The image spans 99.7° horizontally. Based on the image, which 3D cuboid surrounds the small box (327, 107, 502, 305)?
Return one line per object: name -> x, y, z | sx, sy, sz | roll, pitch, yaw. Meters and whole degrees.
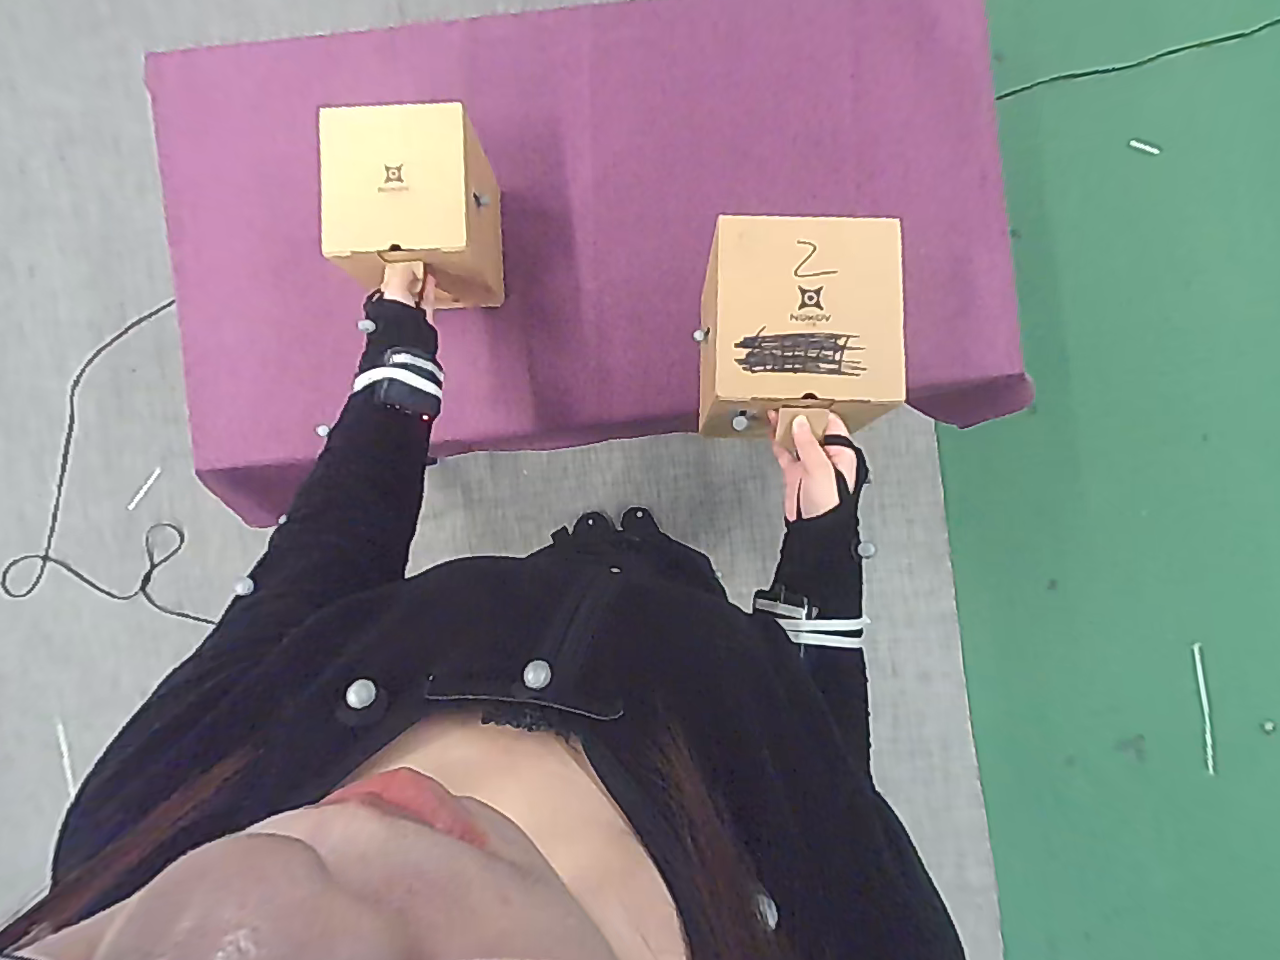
small box -> -0.283, -0.347, 0.710 | 0.168, 0.176, 0.179 | -2, 87, -1
